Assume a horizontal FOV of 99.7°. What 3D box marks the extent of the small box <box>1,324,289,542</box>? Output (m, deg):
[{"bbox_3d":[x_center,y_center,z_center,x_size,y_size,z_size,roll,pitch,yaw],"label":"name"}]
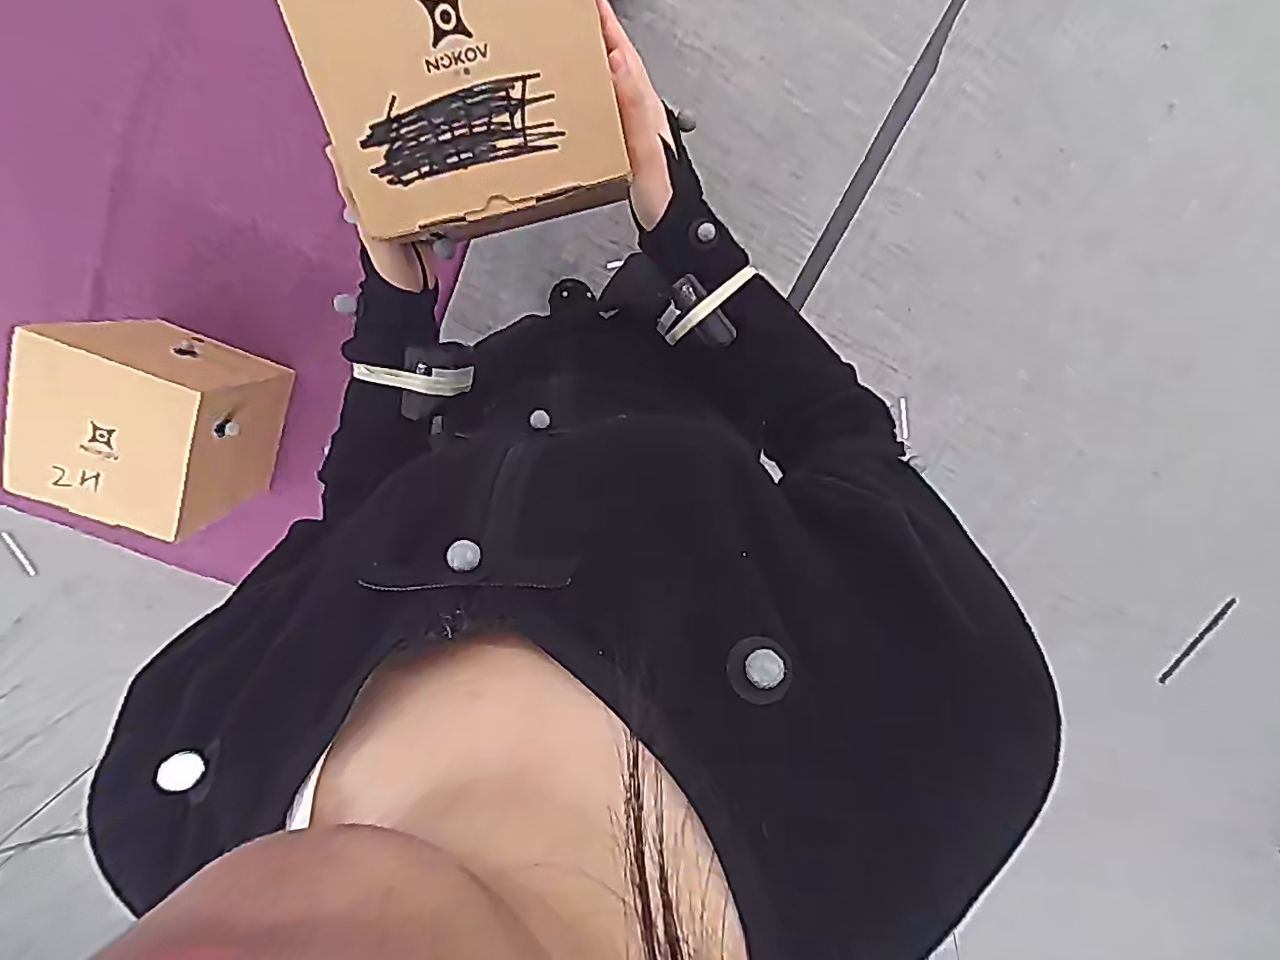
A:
[{"bbox_3d":[-0.532,-0.063,0.605,0.168,0.176,0.179,21,107,-9],"label":"small box"}]
